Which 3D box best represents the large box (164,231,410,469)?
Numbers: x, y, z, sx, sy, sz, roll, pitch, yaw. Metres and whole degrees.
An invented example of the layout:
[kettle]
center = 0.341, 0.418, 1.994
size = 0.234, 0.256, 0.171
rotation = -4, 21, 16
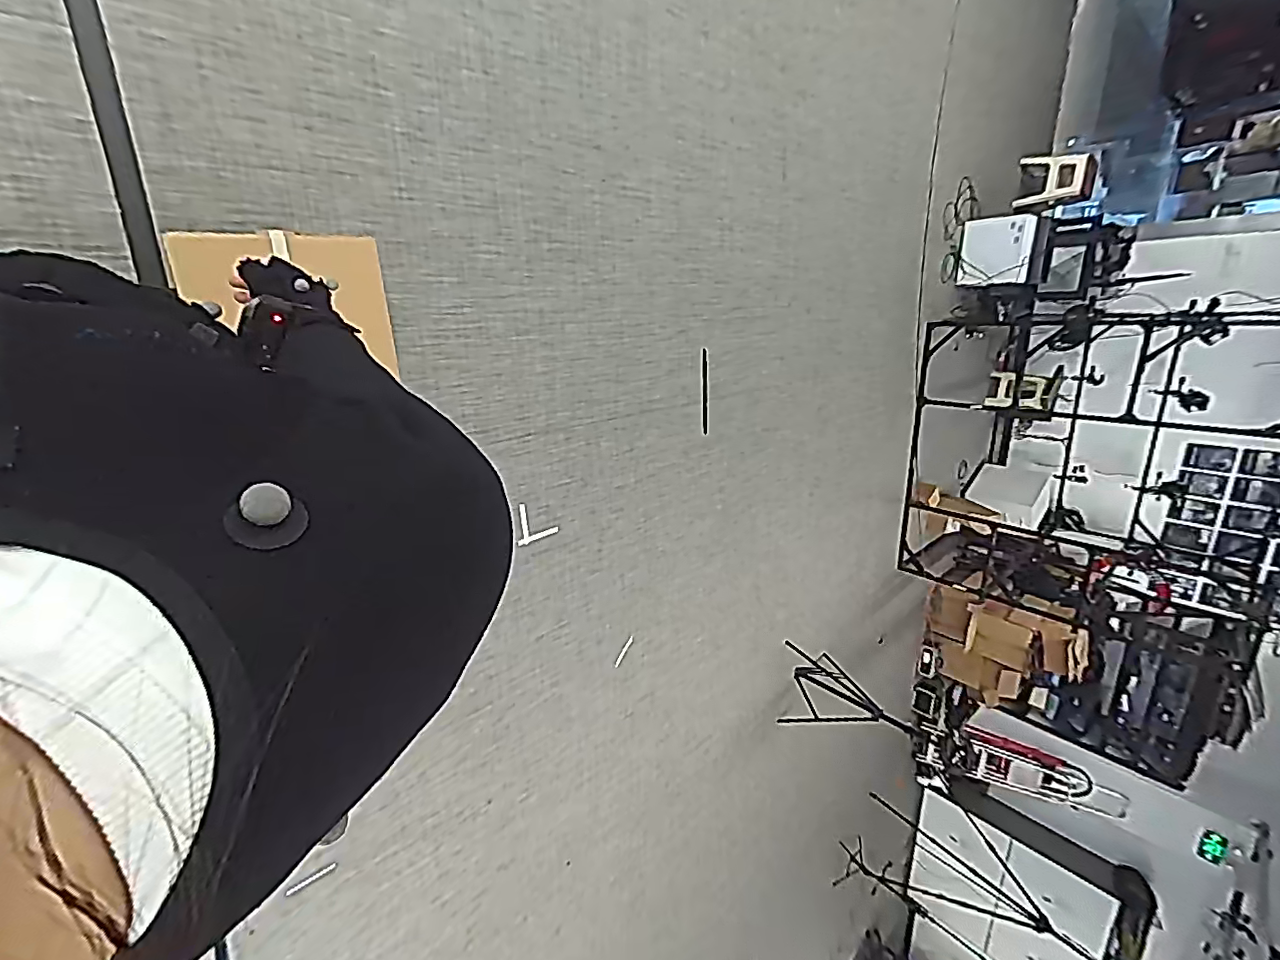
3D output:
[large box]
center = -0.703, -0.277, 1.105
size = 0.320, 0.320, 0.408
rotation = -15, 113, -33
